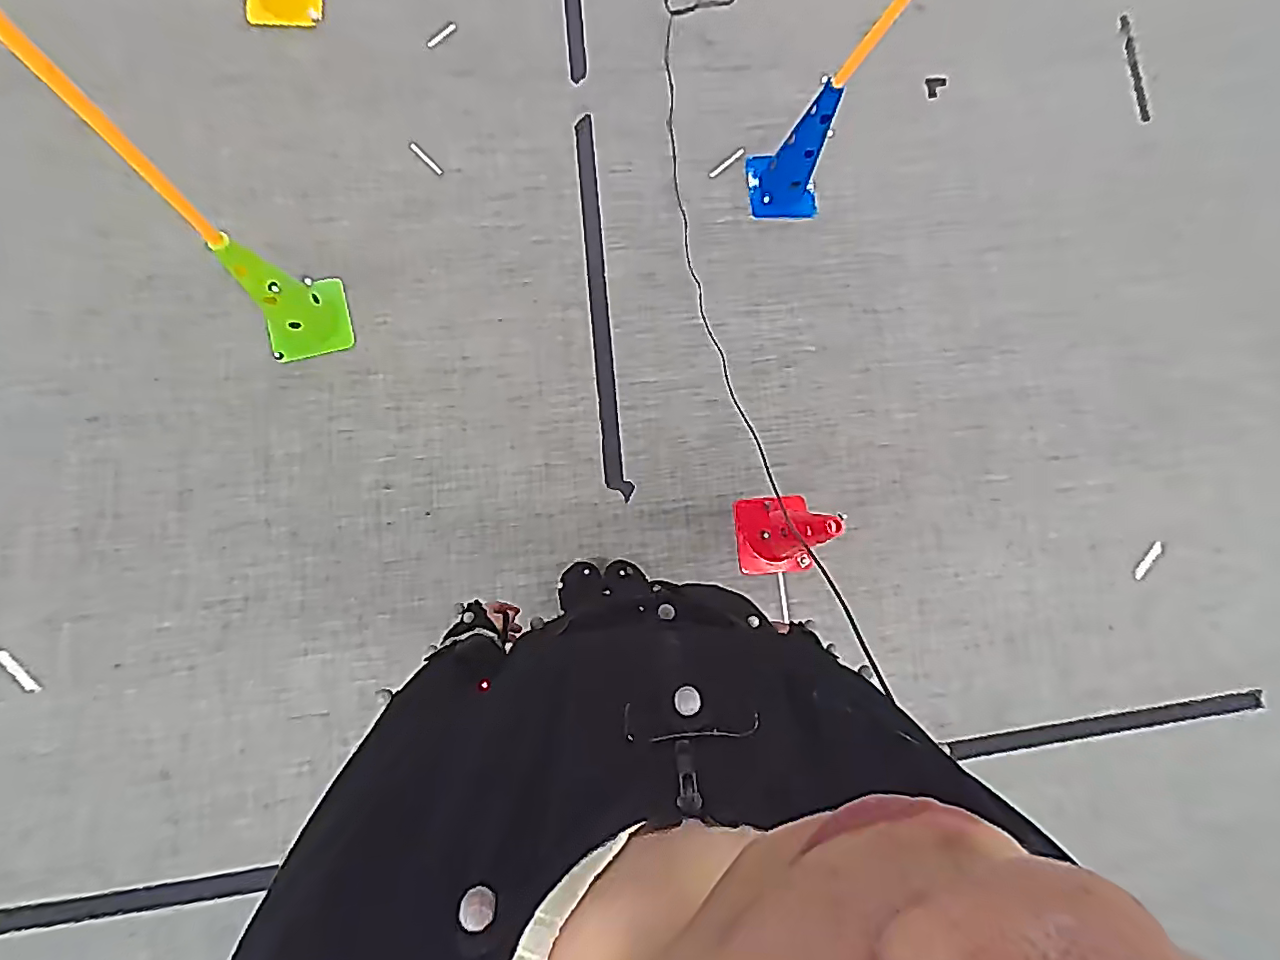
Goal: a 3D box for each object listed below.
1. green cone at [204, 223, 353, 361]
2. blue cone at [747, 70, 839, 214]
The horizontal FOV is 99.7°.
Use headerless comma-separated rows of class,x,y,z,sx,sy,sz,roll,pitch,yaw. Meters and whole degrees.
green cone,-0.840,-0.446,1.227,0.200,0.368,0.202,-16,81,-8
blue cone,0.431,-0.898,1.436,0.193,0.380,0.192,-2,81,-6
